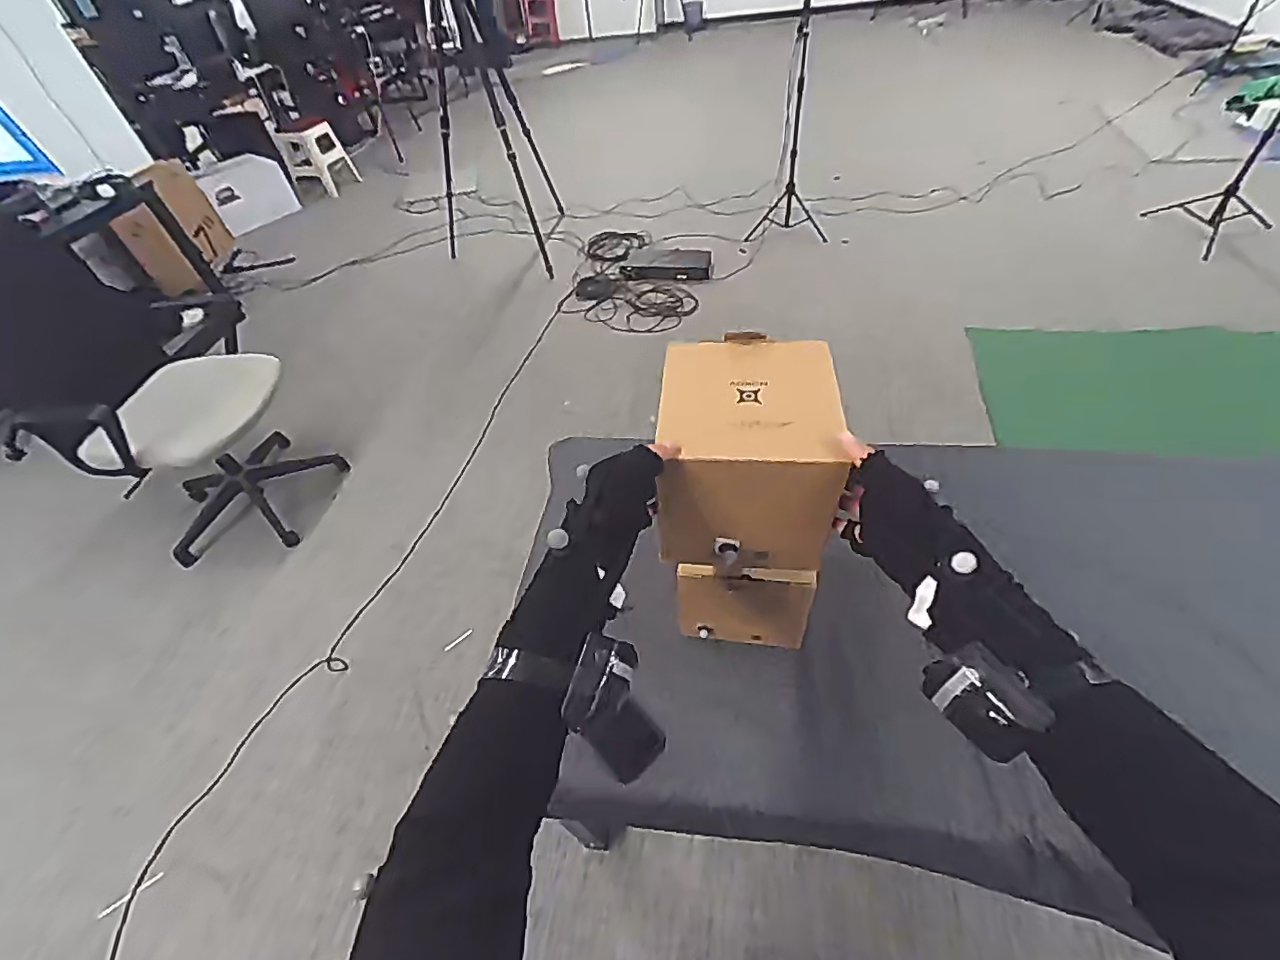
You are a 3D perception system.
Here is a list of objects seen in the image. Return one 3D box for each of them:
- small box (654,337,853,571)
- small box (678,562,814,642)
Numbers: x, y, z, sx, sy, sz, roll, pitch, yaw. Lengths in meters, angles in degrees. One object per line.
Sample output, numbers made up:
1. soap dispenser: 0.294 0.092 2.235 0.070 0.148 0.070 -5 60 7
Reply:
1. small box: 0.107 -0.027 0.560 0.168 0.176 0.179 1 50 8
2. small box: 0.149 0.107 0.758 0.168 0.176 0.179 4 48 11
